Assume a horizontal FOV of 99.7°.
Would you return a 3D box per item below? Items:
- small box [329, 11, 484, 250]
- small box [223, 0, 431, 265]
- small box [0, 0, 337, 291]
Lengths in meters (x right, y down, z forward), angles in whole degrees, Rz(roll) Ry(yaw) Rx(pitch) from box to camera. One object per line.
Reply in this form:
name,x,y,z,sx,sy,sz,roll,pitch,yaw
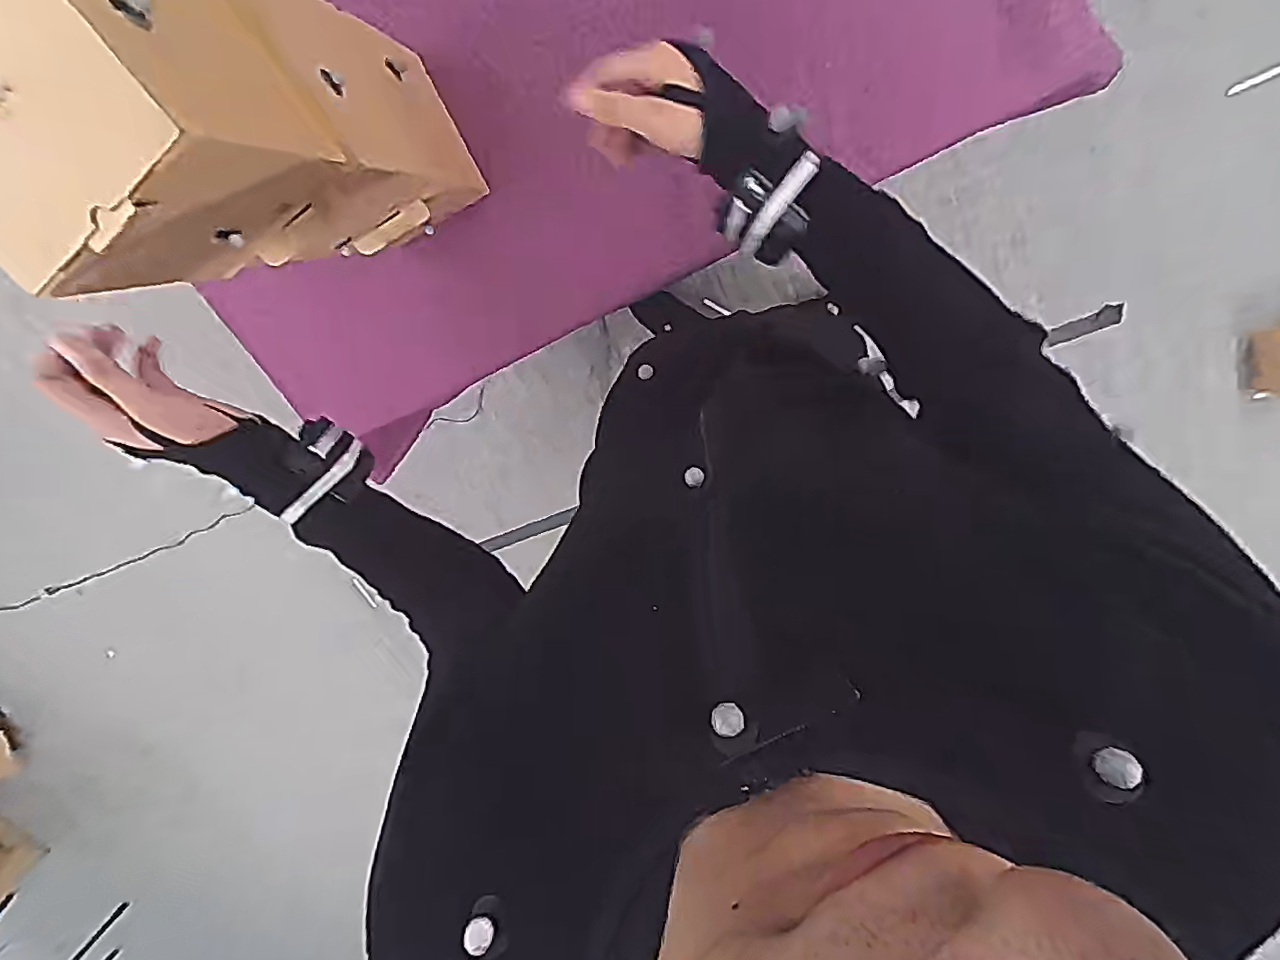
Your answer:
small box,-0.323,-0.403,0.658,0.168,0.176,0.179,-22,113,14
small box,-0.335,-0.331,0.511,0.168,0.176,0.179,-26,111,15
small box,-0.361,-0.256,0.368,0.168,0.176,0.179,-30,111,17
